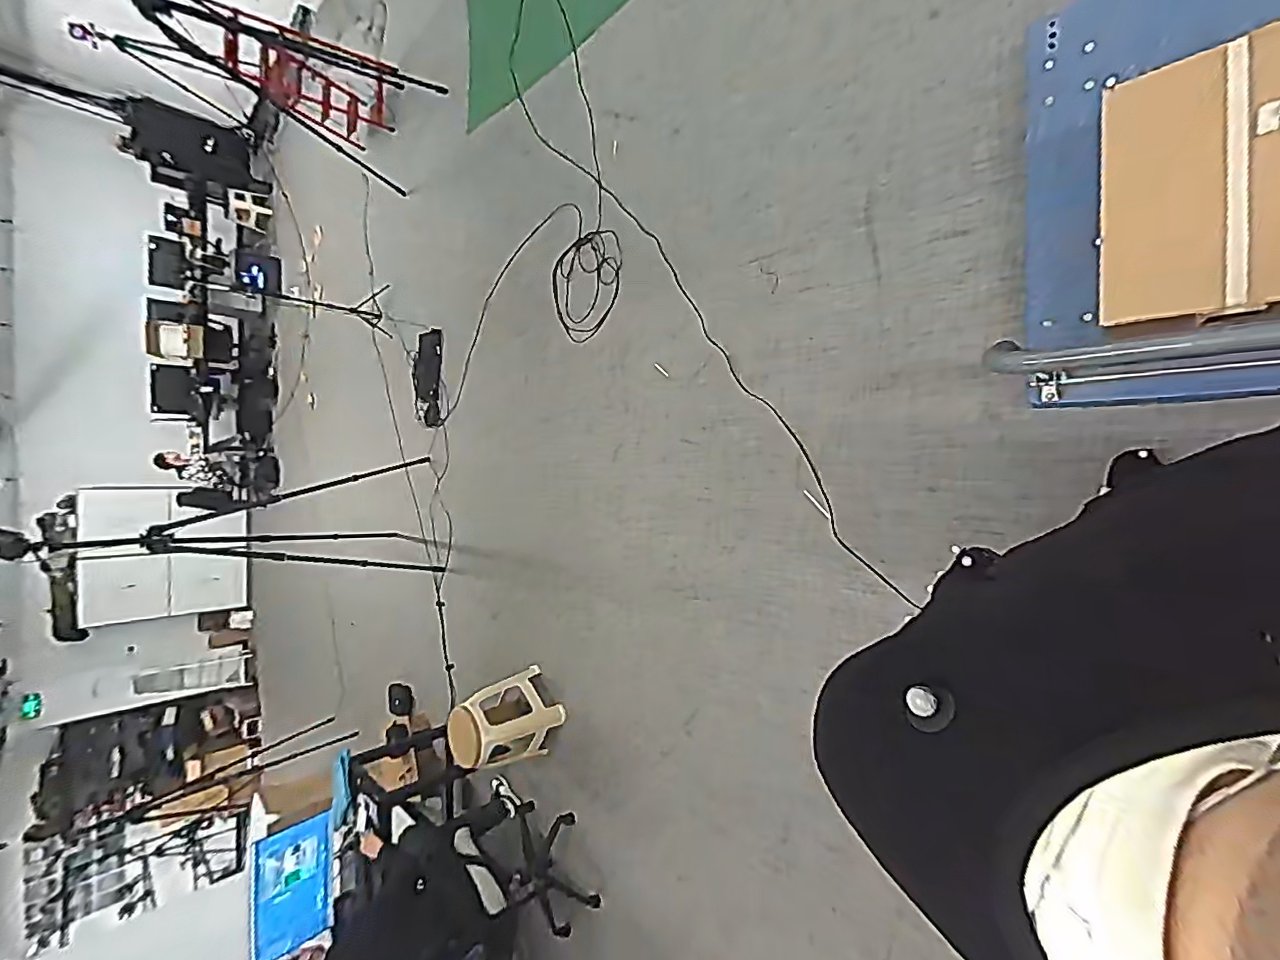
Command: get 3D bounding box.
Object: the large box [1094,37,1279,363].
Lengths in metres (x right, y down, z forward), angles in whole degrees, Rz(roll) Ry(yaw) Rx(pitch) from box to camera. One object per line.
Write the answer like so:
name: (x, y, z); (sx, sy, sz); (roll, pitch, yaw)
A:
large box: (1.004, -0.448, 0.932); (0.320, 0.320, 0.408); (0, 88, 43)
